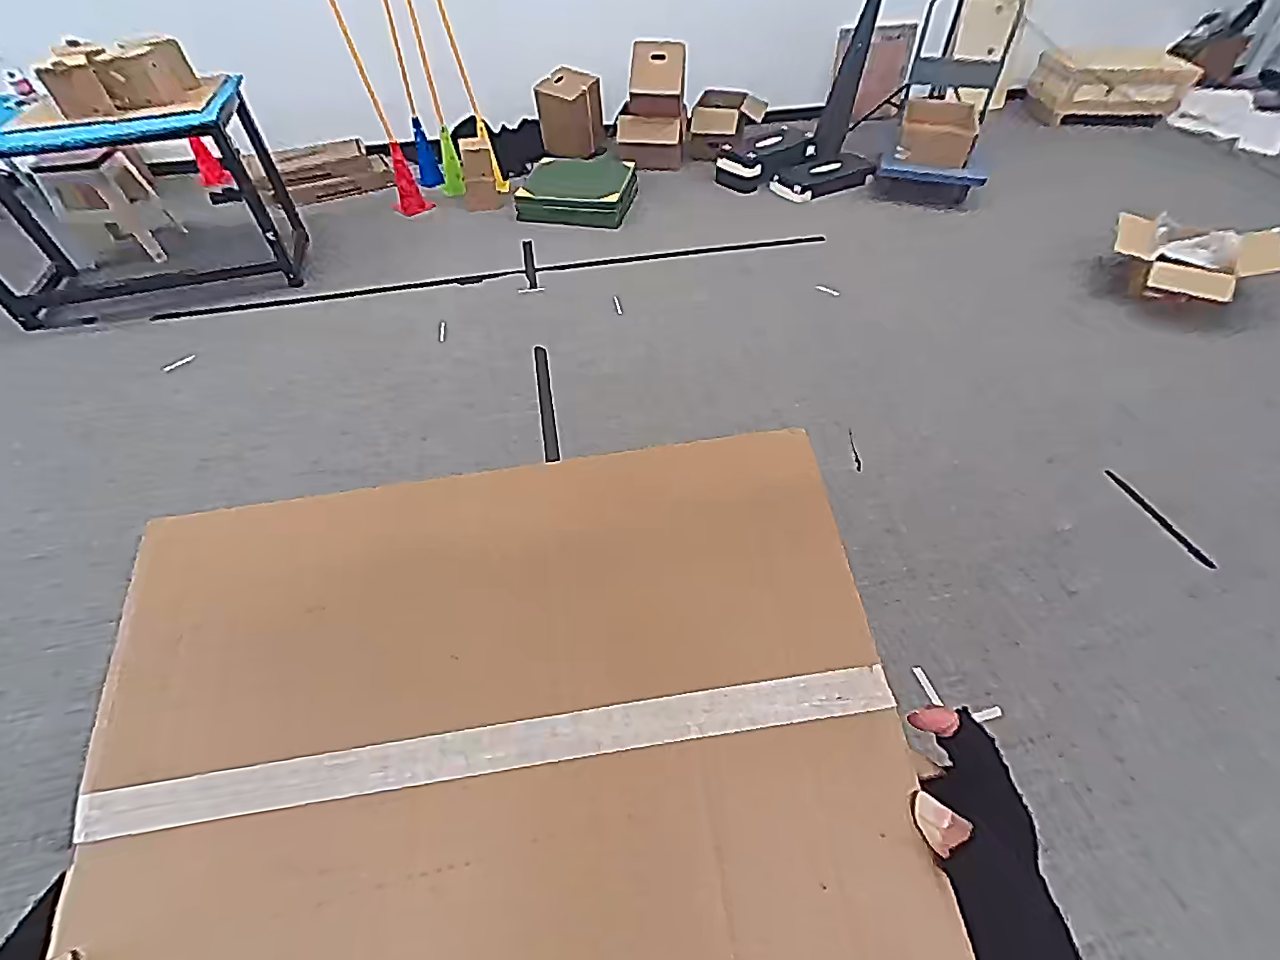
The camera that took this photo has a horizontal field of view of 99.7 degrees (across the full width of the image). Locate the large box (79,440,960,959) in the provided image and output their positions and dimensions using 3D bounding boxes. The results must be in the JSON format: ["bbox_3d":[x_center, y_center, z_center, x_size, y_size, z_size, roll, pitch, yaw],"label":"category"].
[{"bbox_3d":[-0.068,0.202,0.418,0.408,0.320,0.320,-8,66,-2],"label":"large box"}]
